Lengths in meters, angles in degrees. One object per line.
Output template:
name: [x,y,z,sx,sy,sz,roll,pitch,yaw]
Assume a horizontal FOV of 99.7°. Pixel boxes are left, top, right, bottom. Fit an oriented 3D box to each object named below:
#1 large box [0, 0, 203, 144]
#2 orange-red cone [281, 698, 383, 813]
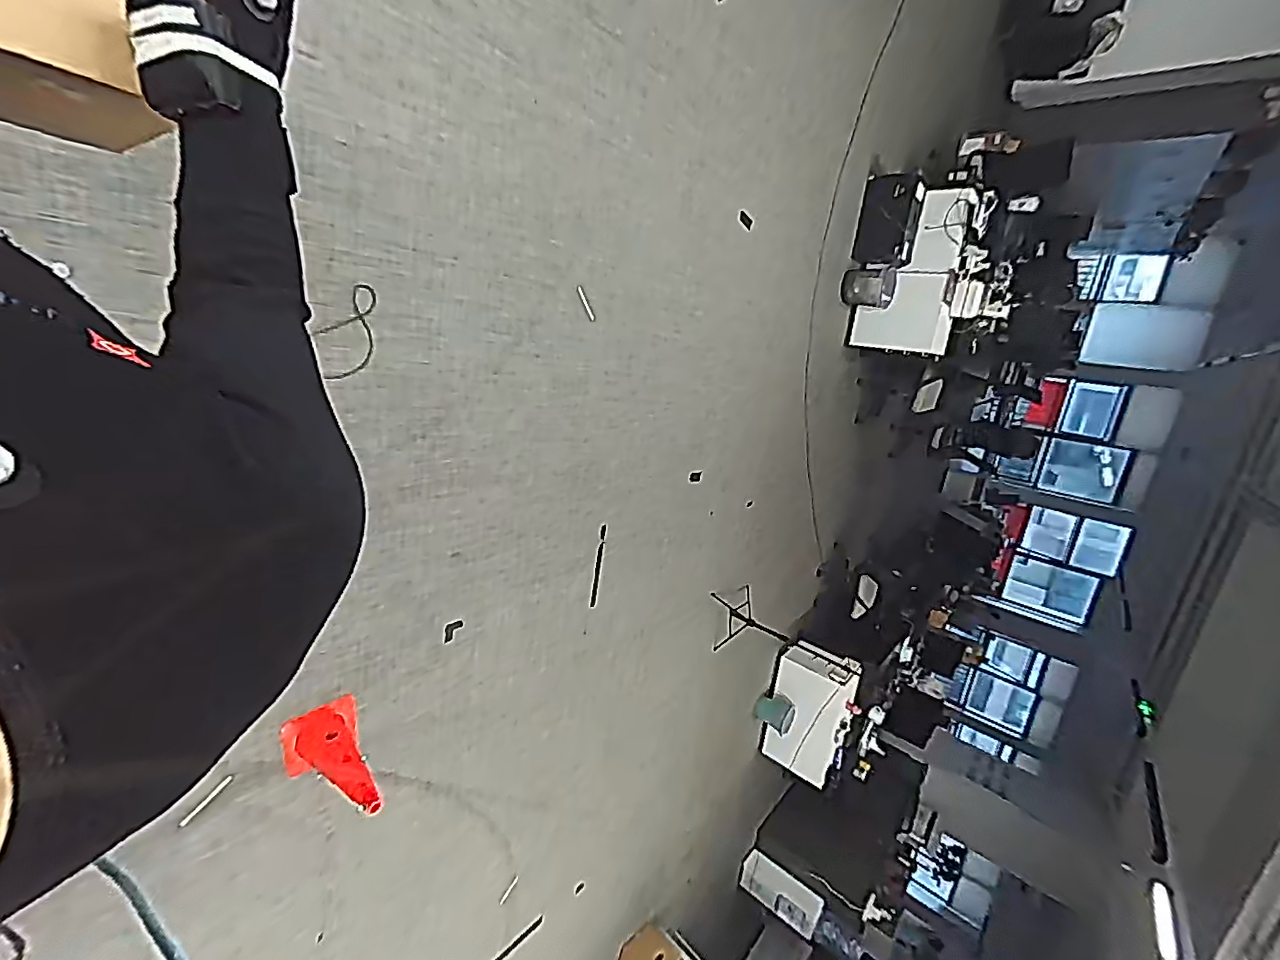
large box: [-0.552,-0.445,0.307,0.408,0.320,0.320,-9,113,-52]
orange-red cone: [-0.826,0.809,1.513,0.198,0.360,0.199,-14,114,-49]
